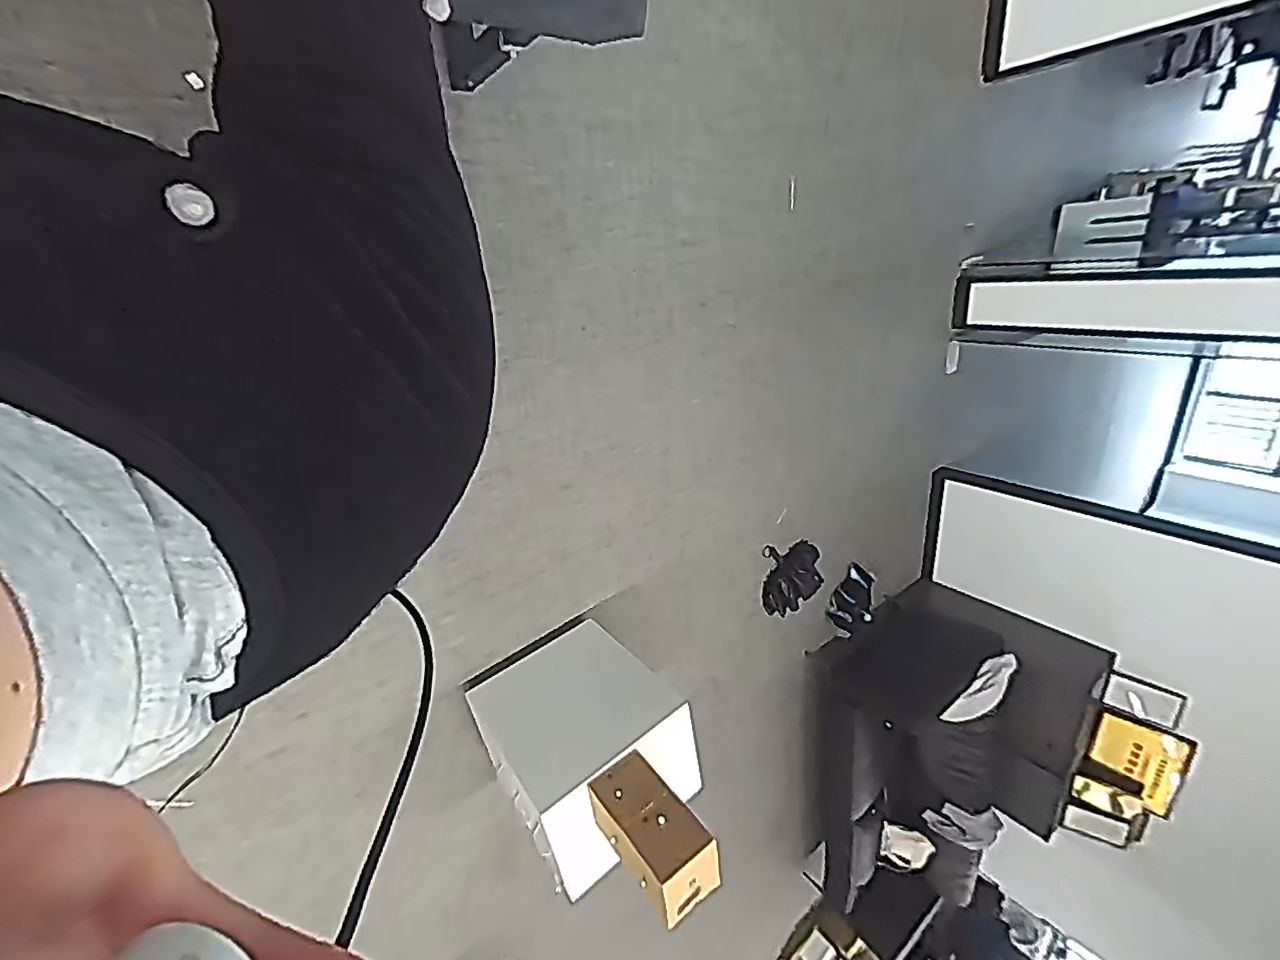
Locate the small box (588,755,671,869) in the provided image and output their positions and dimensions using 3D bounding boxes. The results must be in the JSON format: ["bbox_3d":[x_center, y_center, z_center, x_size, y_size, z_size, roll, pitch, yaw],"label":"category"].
[{"bbox_3d":[-0.025,0.879,1.458,0.168,0.176,0.179,-23,120,-30],"label":"small box"}]

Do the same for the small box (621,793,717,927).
[{"bbox_3d":[0.072,0.926,1.334,0.168,0.176,0.179,-22,118,-30],"label":"small box"}]
